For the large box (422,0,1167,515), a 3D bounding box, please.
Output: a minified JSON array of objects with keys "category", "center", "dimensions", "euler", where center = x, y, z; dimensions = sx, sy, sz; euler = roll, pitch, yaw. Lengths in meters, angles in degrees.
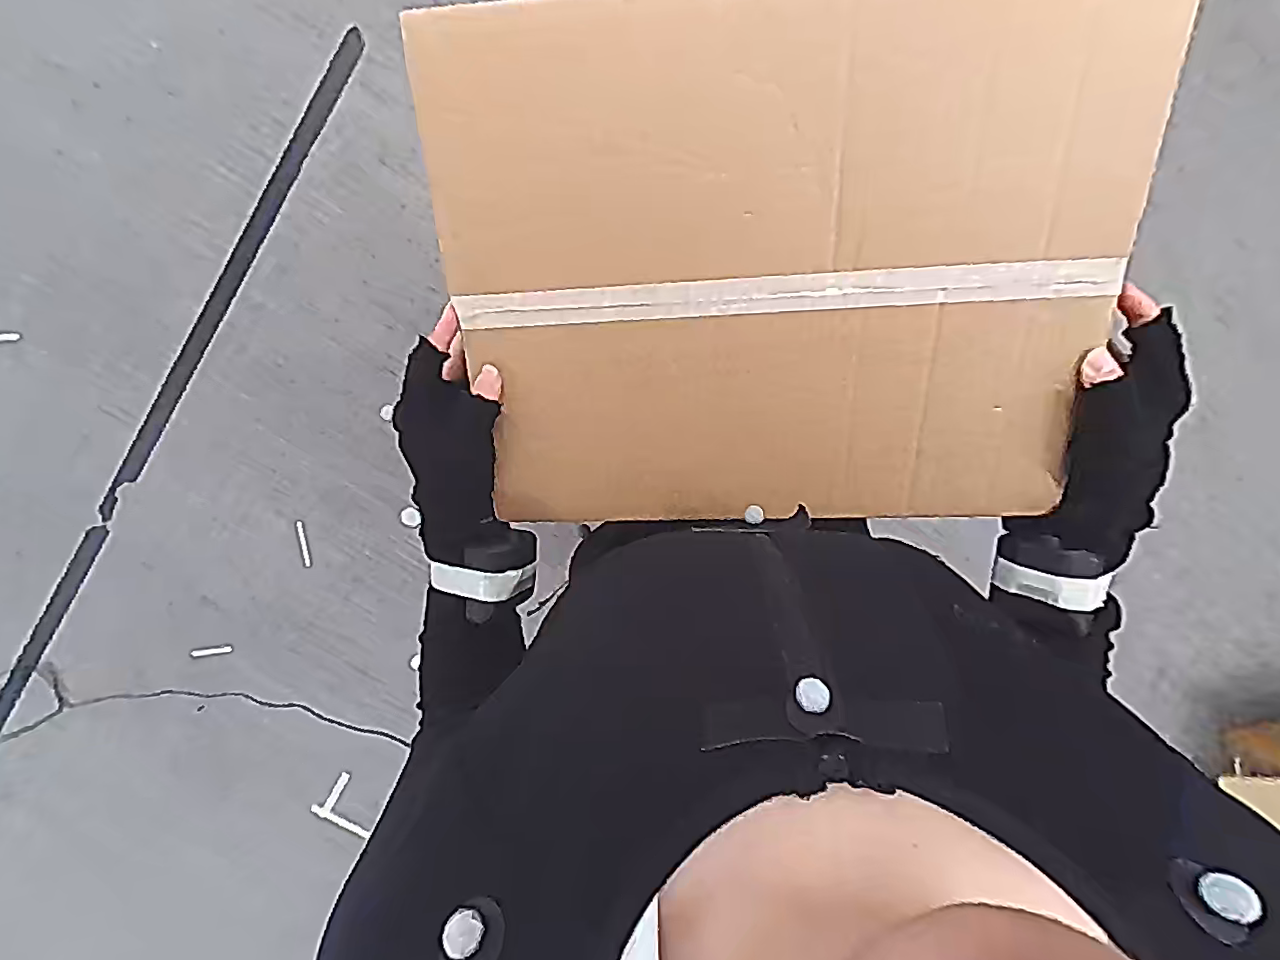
[{"category":"large box","center":[0.091,-0.178,0.482],"dimensions":[0.408,0.320,0.320],"euler":[-1,115,5]}]
